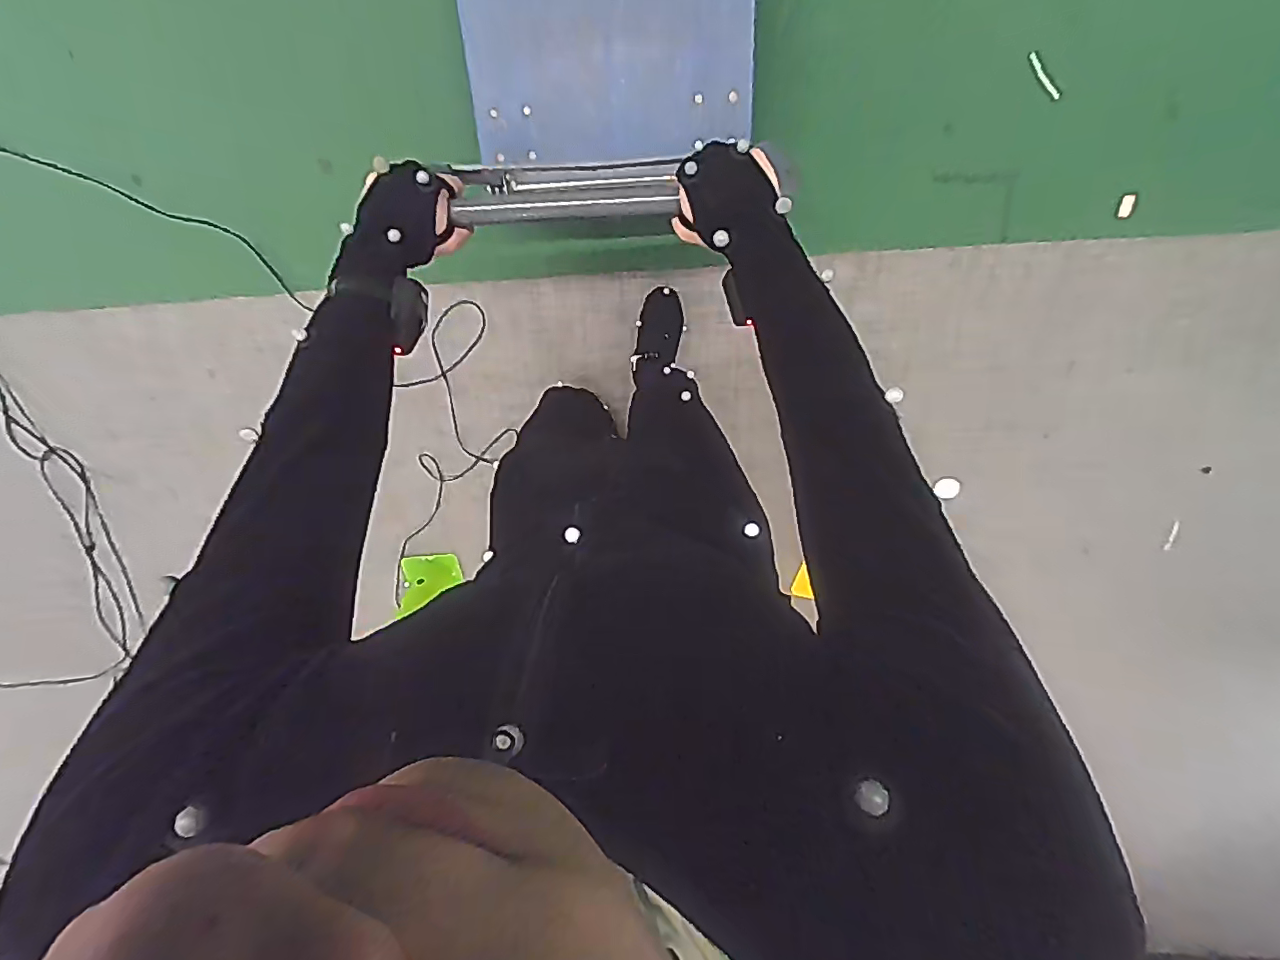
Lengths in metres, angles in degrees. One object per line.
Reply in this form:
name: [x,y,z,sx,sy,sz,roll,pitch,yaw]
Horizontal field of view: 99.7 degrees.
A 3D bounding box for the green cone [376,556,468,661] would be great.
green cone: [-0.719,0.422,1.703,0.202,0.368,0.200,-5,115,7]
